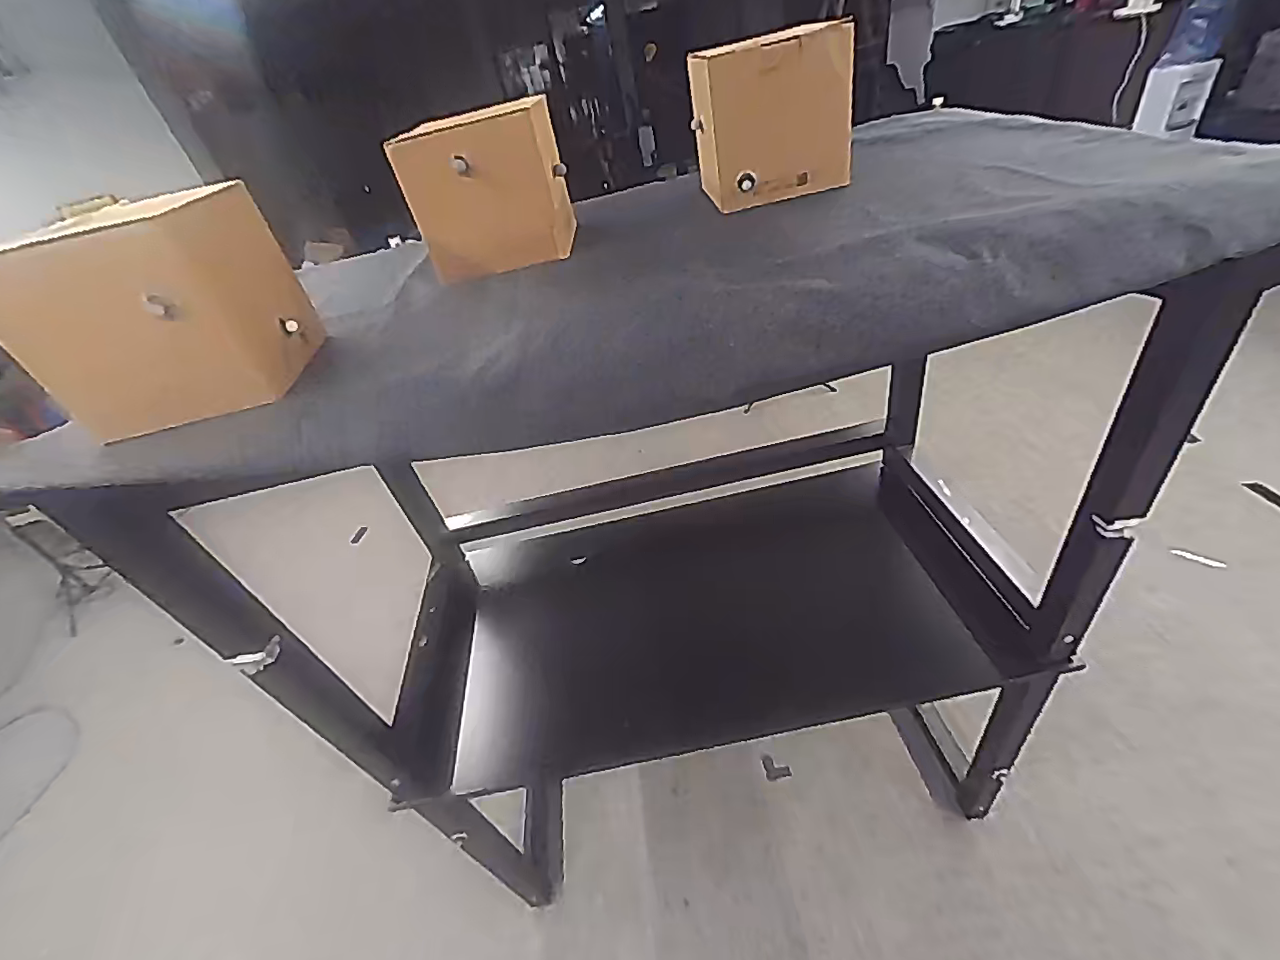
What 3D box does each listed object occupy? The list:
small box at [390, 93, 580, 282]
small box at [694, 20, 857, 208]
[{"bbox_3d":[-0.183,-0.382,0.711,0.179,0.176,0.168,-10,39,6],"label":"small box"},{"bbox_3d":[0.172,-0.473,0.710,0.168,0.176,0.179,-10,38,4],"label":"small box"}]
